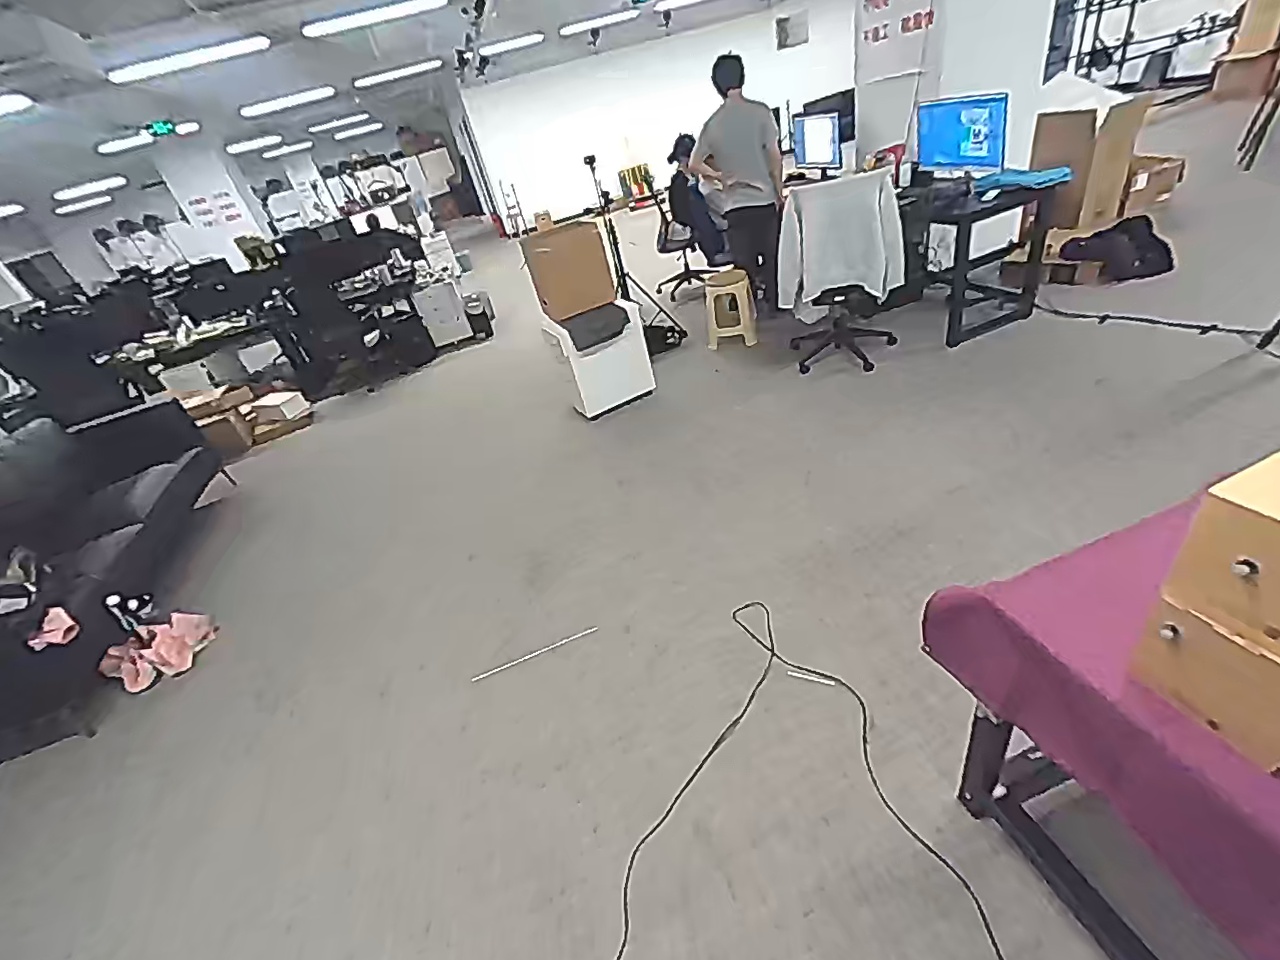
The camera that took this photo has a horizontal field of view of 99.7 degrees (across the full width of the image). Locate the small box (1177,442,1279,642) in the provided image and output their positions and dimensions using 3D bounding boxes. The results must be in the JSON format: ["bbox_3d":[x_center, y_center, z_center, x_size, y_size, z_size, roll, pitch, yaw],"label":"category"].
[{"bbox_3d":[0.751,0.072,0.591,0.179,0.176,0.168,-22,35,-11],"label":"small box"}]
